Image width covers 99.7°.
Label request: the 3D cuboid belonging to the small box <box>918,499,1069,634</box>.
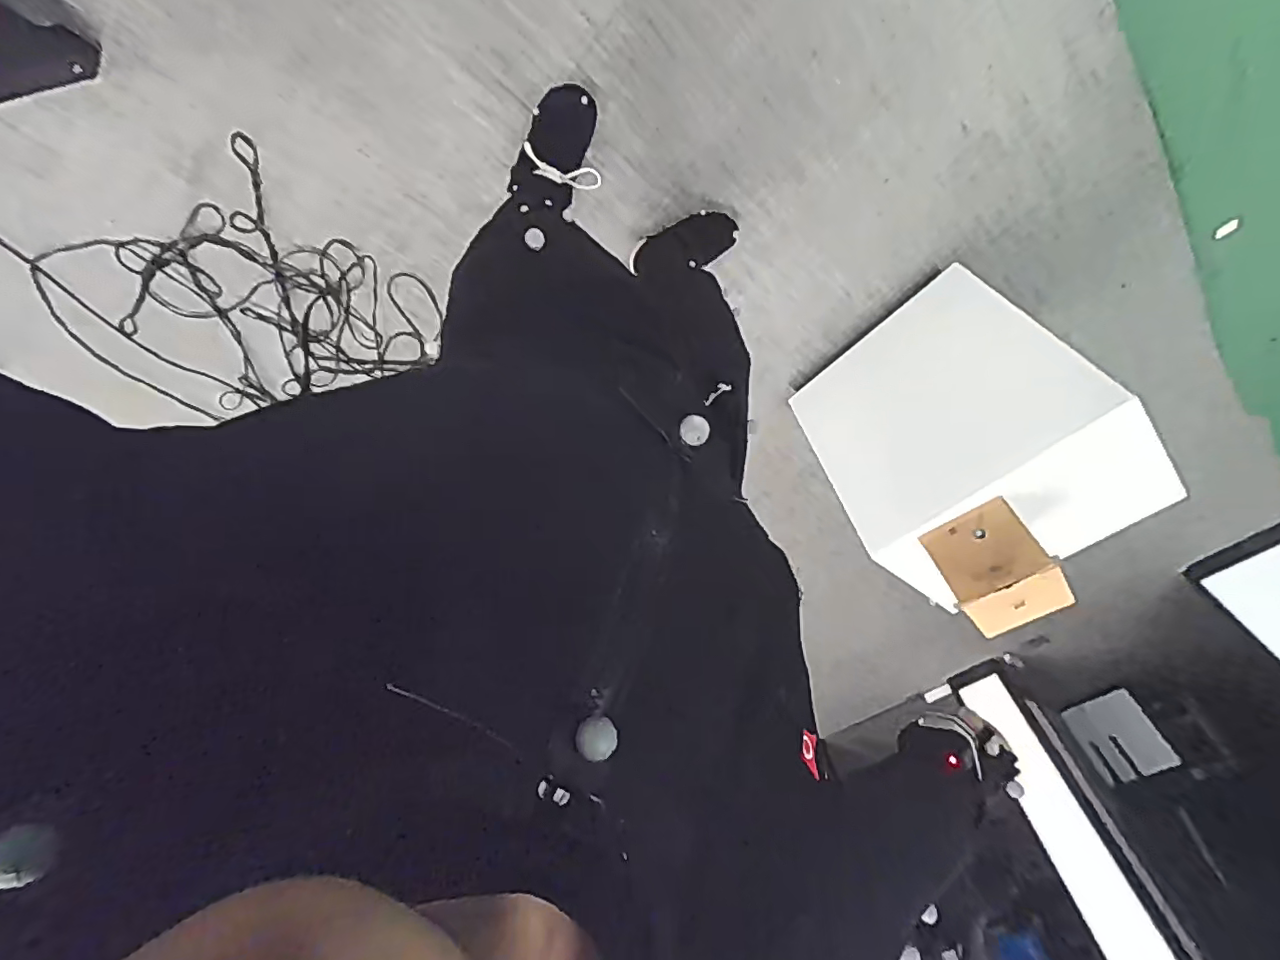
[{"bbox_3d":[0.678,0.166,1.047,0.168,0.176,0.179,-35,130,23],"label":"small box"}]
